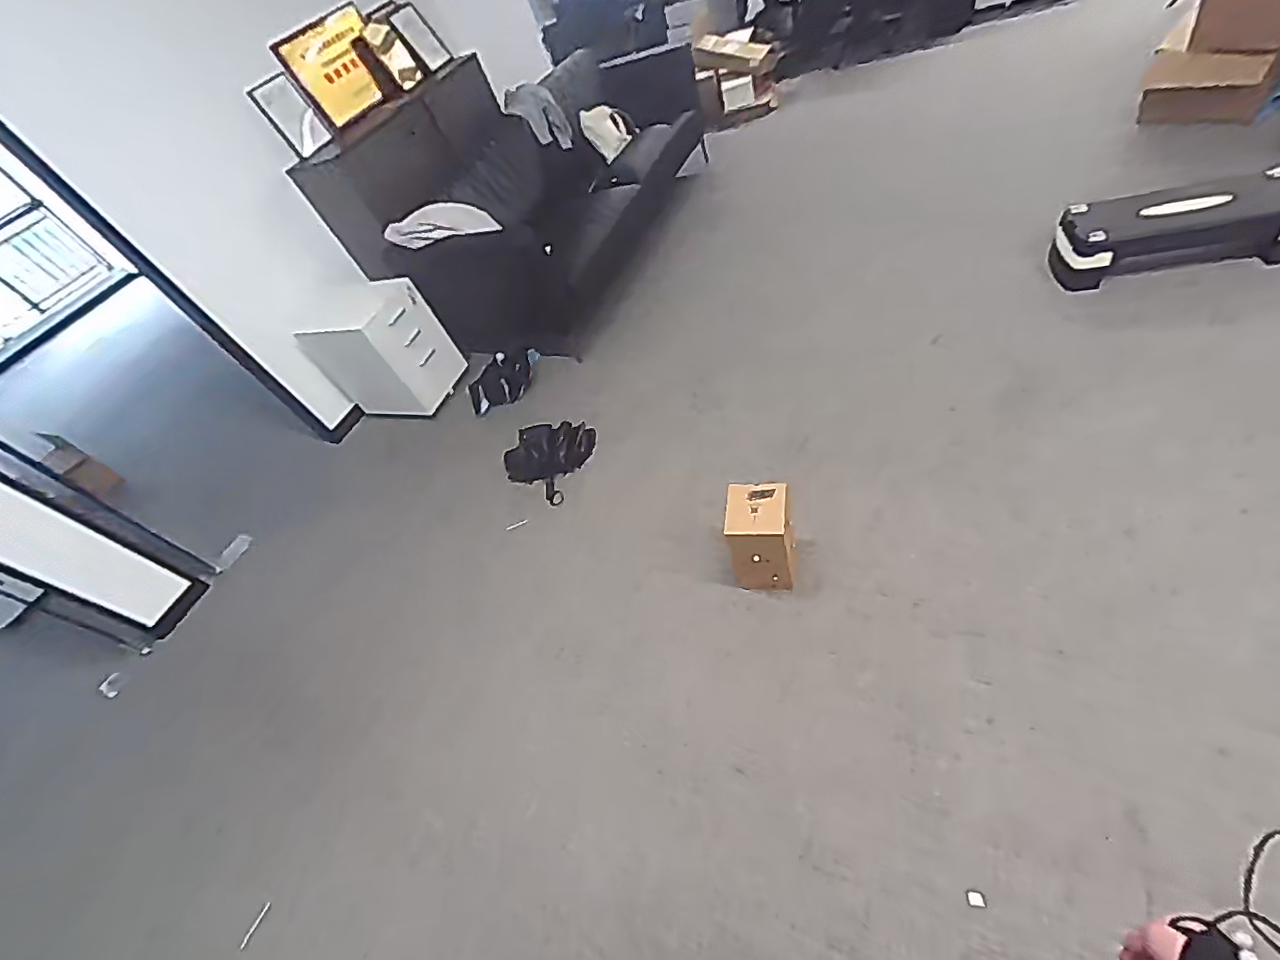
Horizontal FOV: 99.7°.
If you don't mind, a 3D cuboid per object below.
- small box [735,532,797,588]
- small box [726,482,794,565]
[{"bbox_3d":[0.399,0.224,1.688,0.168,0.176,0.179,-3,50,20],"label":"small box"},{"bbox_3d":[0.352,0.126,1.564,0.168,0.176,0.179,-2,53,21],"label":"small box"}]
